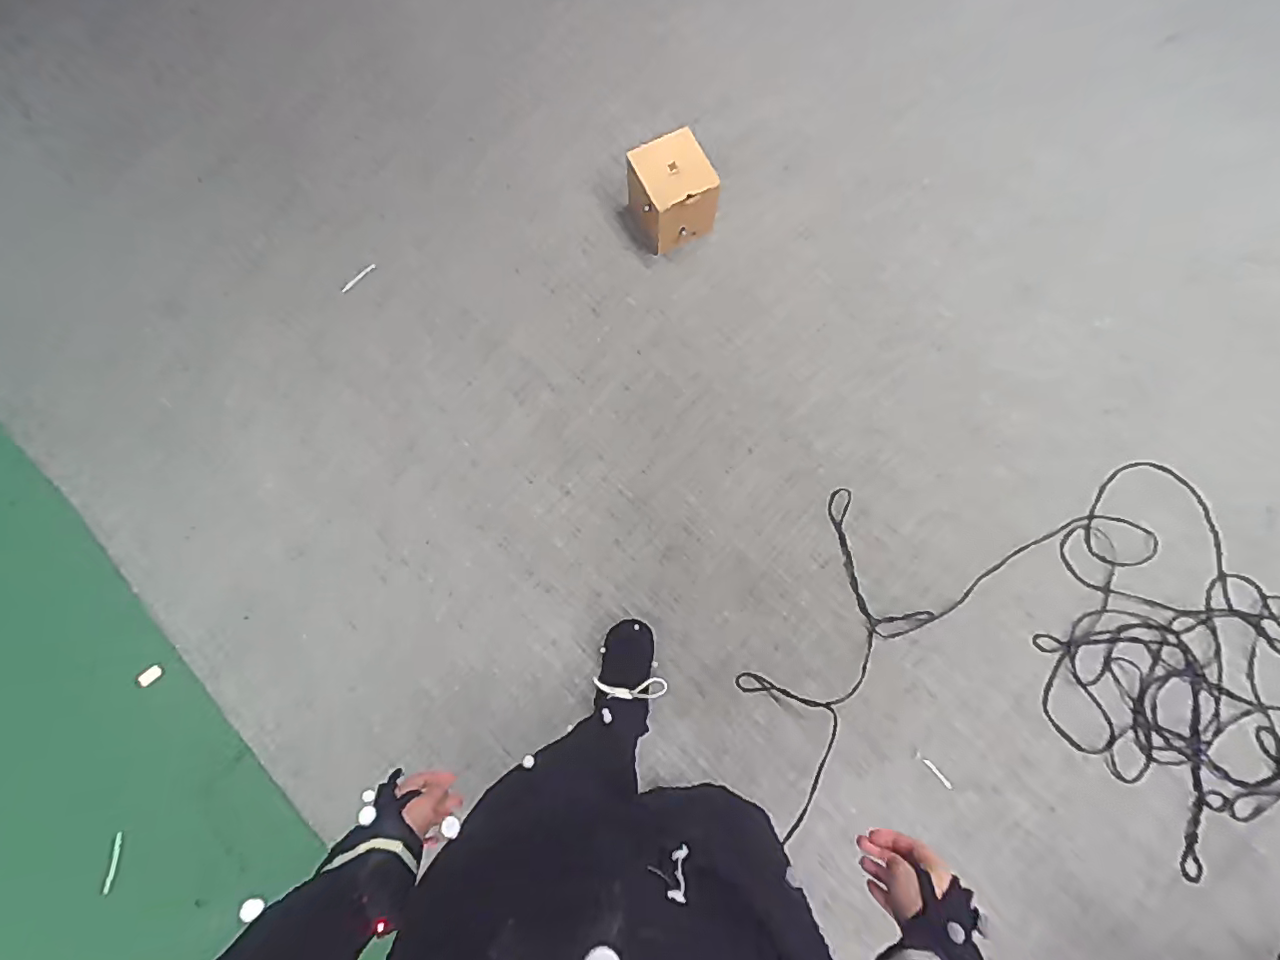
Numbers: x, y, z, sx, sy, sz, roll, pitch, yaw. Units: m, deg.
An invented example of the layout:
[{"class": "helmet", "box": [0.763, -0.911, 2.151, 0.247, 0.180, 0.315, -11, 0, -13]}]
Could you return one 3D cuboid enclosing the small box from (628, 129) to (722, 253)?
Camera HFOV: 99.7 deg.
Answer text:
[{"class": "small box", "box": [0.079, -0.700, 1.324, 0.168, 0.176, 0.179, -26, 80, -4]}]
